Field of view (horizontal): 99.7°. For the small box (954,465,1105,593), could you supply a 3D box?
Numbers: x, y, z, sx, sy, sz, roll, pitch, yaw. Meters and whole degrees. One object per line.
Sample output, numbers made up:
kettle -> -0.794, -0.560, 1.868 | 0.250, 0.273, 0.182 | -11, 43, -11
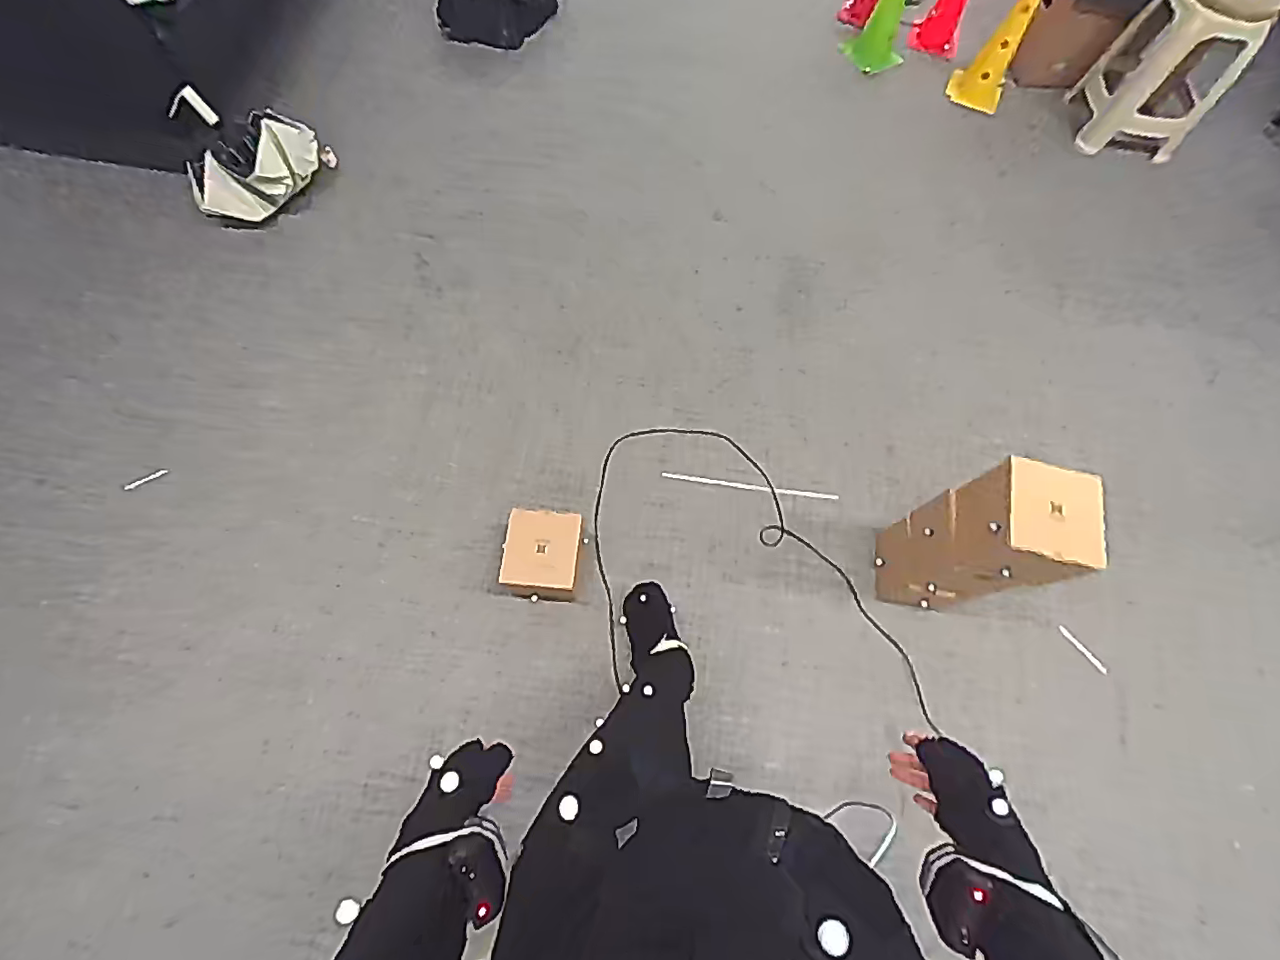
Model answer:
small box -> 0.720, 0.099, 1.016 | 0.168, 0.176, 0.179 | 15, 70, 3

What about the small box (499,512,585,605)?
small box -> -0.223, 0.190, 1.286 | 0.168, 0.176, 0.179 | 6, 69, 0

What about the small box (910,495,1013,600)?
small box -> 0.705, 0.154, 1.169 | 0.168, 0.176, 0.179 | 10, 68, 1

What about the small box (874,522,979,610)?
small box -> 0.691, 0.217, 1.323 | 0.168, 0.176, 0.179 | 8, 70, -3
